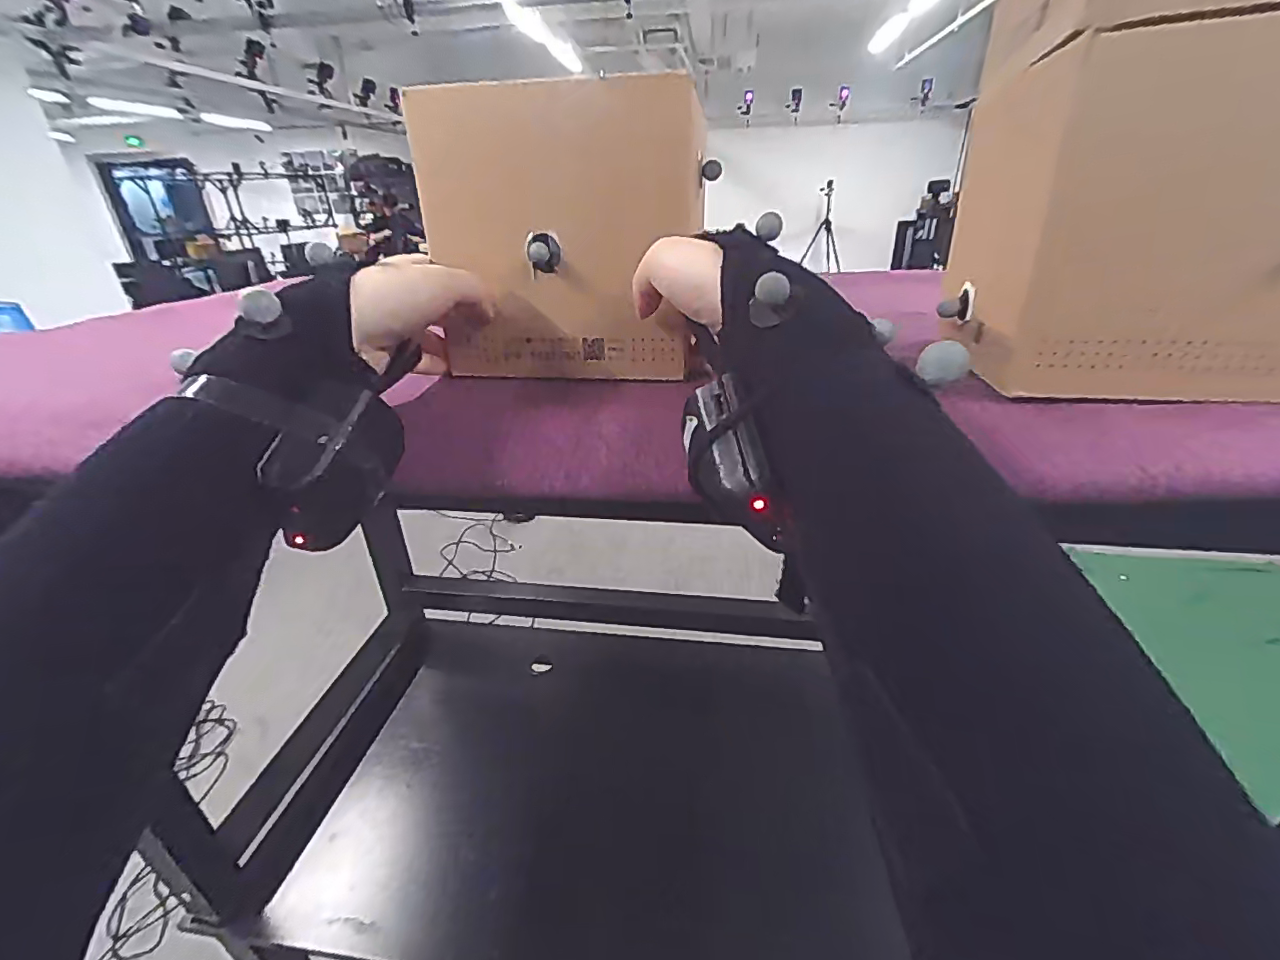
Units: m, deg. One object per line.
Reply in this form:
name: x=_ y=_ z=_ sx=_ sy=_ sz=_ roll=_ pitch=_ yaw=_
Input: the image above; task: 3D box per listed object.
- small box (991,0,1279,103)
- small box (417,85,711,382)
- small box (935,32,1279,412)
small box: x=0.297 y=-0.293 z=0.264 sx=0.179 sy=0.176 sz=0.168 roll=6 pitch=26 yaw=16
small box: x=-0.035 y=-0.177 z=0.409 sx=0.168 sy=0.176 sz=0.179 roll=4 pitch=27 yaw=8
small box: x=0.304 y=-0.143 z=0.326 sx=0.179 sy=0.176 sz=0.168 roll=3 pitch=25 yaw=13
